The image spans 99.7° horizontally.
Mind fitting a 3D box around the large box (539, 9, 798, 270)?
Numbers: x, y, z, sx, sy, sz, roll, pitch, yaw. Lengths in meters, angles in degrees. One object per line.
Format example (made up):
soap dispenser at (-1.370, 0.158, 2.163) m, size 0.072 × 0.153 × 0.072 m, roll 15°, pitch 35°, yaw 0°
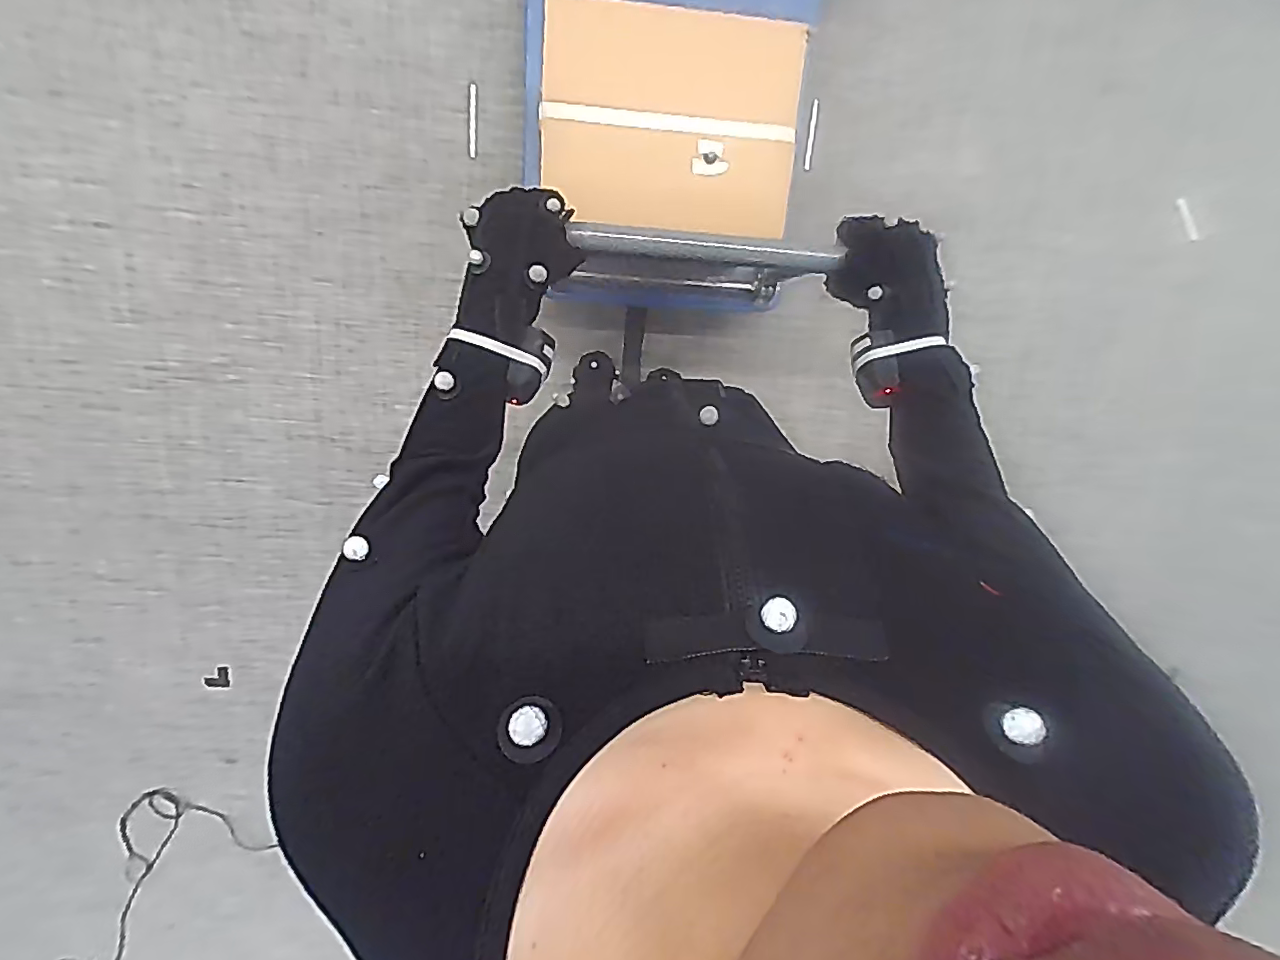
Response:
large box at (0.028, -0.583, 1.000) m, size 0.408 × 0.320 × 0.320 m, roll 2°, pitch 104°, yaw -5°
